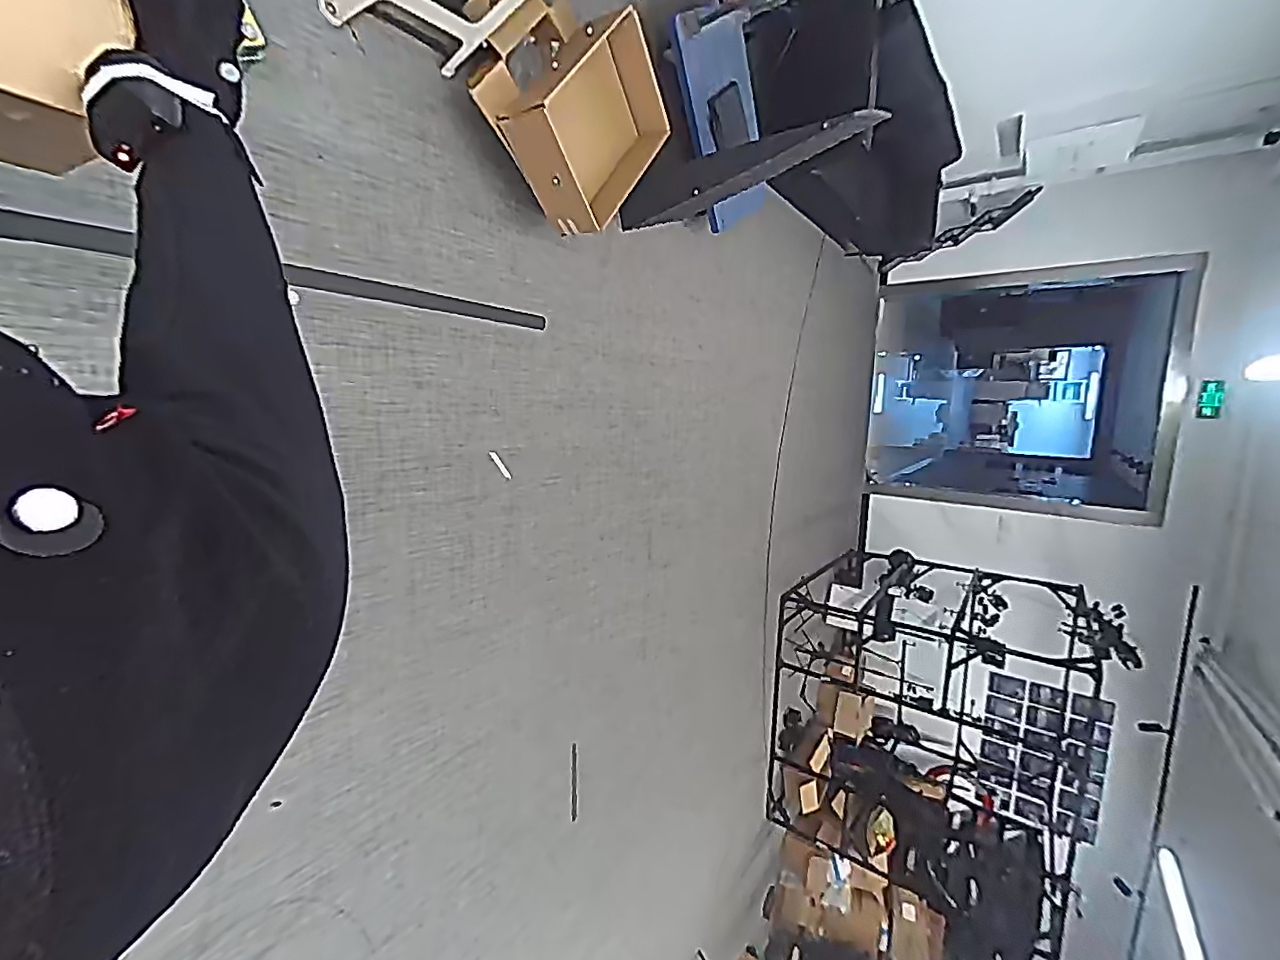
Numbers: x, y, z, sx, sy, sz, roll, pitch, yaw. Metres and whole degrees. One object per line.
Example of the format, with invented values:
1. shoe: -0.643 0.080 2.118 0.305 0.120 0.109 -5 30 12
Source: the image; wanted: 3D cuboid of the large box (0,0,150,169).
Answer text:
1. large box: -0.619 -0.443 0.332 0.408 0.320 0.320 -9 109 -55
